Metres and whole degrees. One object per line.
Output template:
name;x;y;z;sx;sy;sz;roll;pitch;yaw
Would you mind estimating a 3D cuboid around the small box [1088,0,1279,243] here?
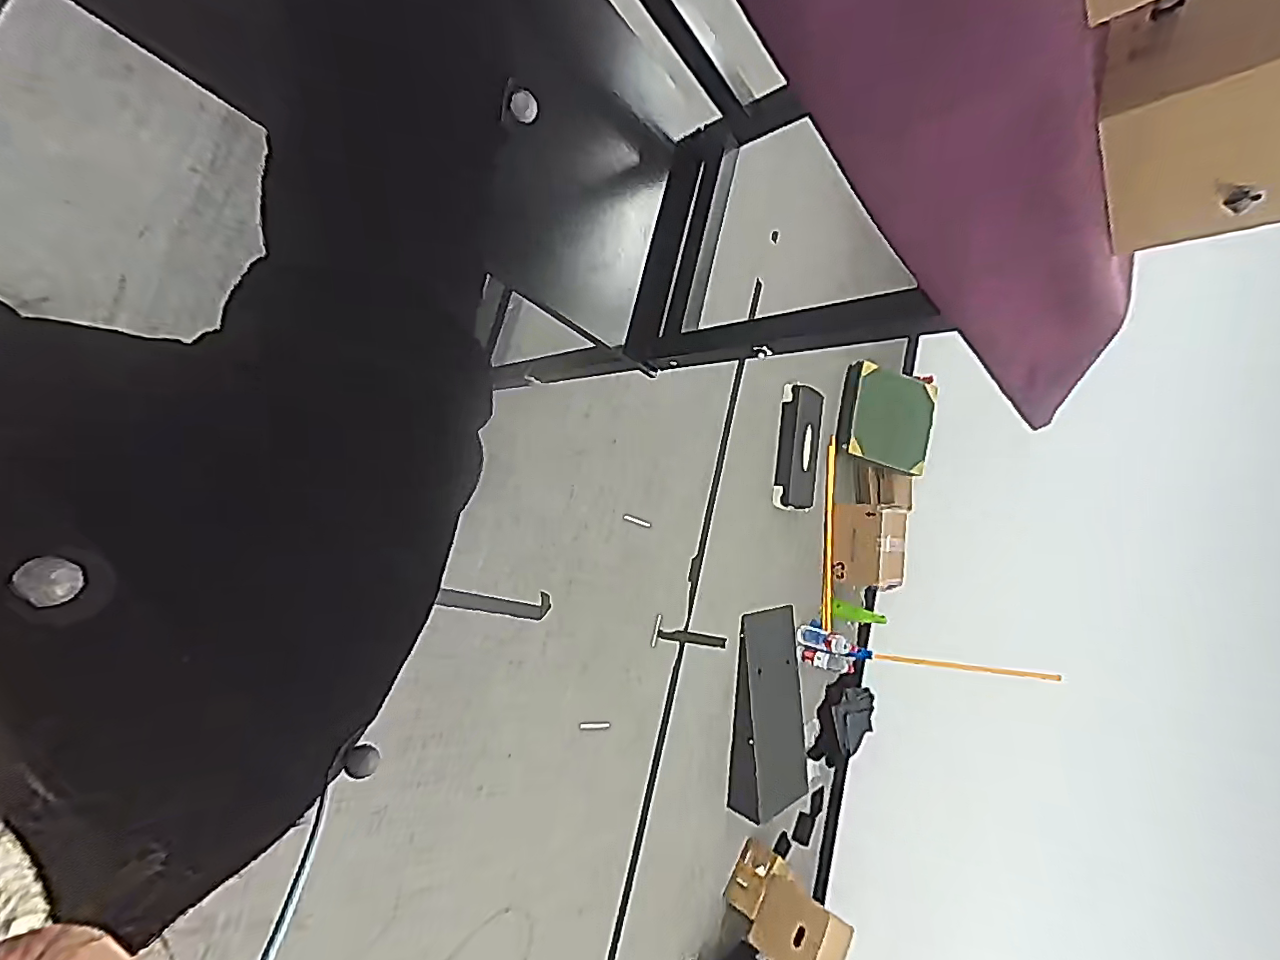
small box;0.514;-0.336;0.472;0.179;0.176;0.168;30;70;-41
